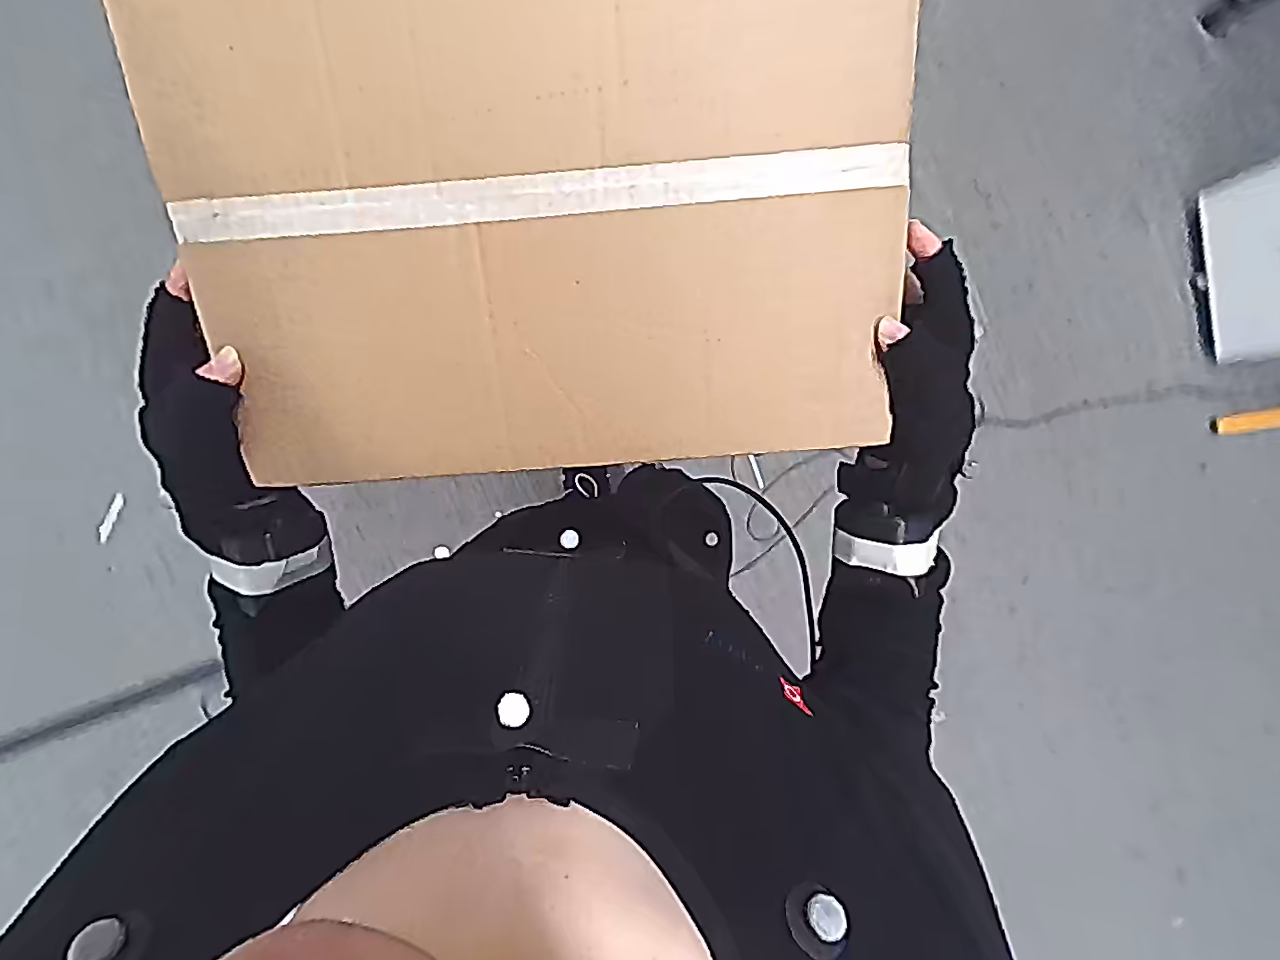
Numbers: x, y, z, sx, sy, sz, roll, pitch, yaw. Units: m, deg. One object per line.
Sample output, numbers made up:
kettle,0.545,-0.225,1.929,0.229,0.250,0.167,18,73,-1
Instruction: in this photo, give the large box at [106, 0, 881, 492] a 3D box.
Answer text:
large box,-0.064,-0.204,0.449,0.408,0.320,0.320,-6,107,1
